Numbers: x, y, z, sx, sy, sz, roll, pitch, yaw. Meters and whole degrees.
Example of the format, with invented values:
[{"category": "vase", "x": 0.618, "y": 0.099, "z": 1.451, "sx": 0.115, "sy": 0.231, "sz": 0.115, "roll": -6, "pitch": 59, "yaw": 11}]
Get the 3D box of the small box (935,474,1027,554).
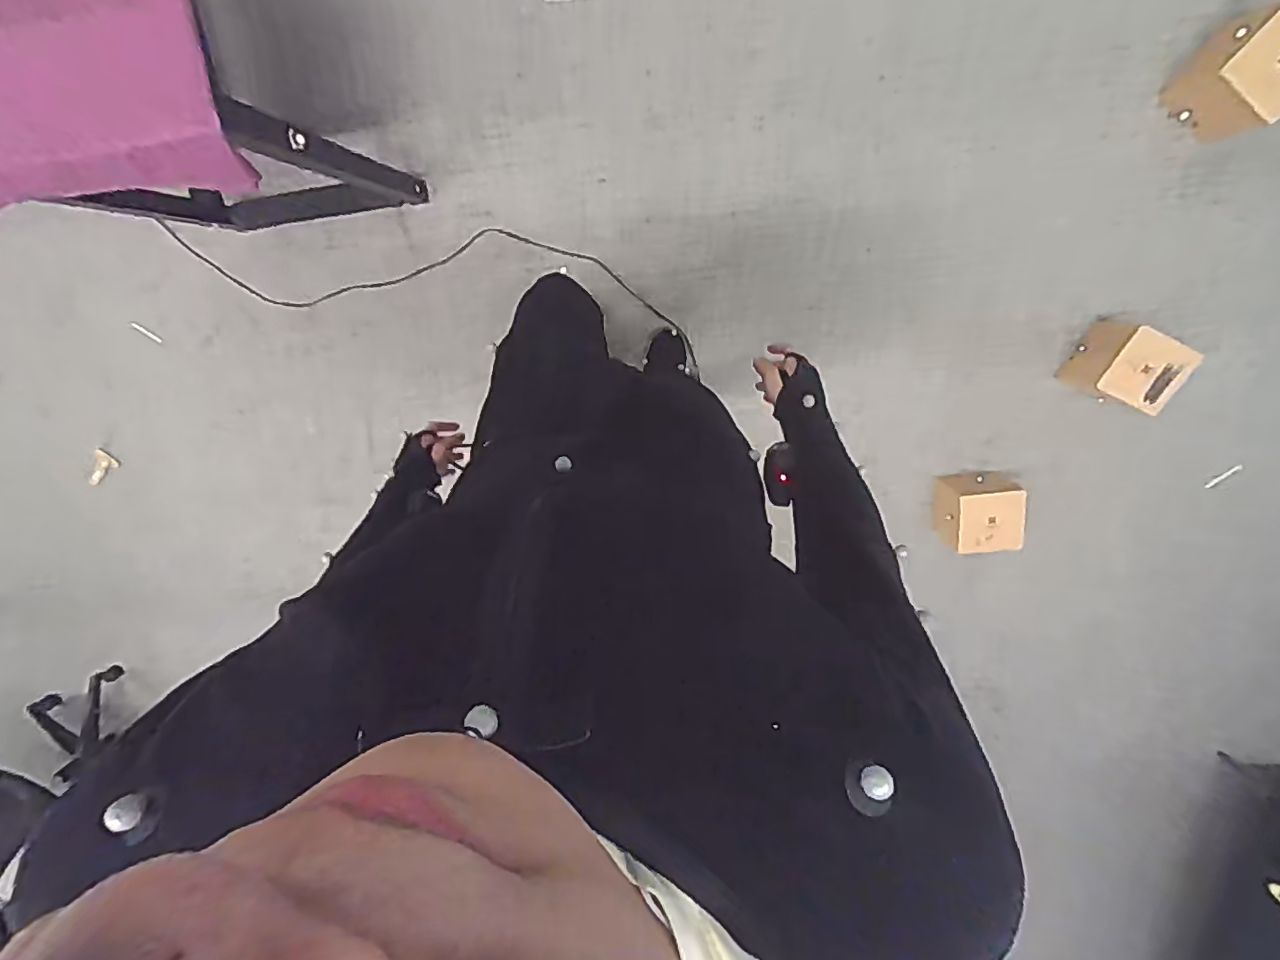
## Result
[{"category": "small box", "x": 0.945, "y": 0.089, "z": 1.514, "sx": 0.168, "sy": 0.176, "sz": 0.179, "roll": -6, "pitch": 108, "yaw": 8}]
